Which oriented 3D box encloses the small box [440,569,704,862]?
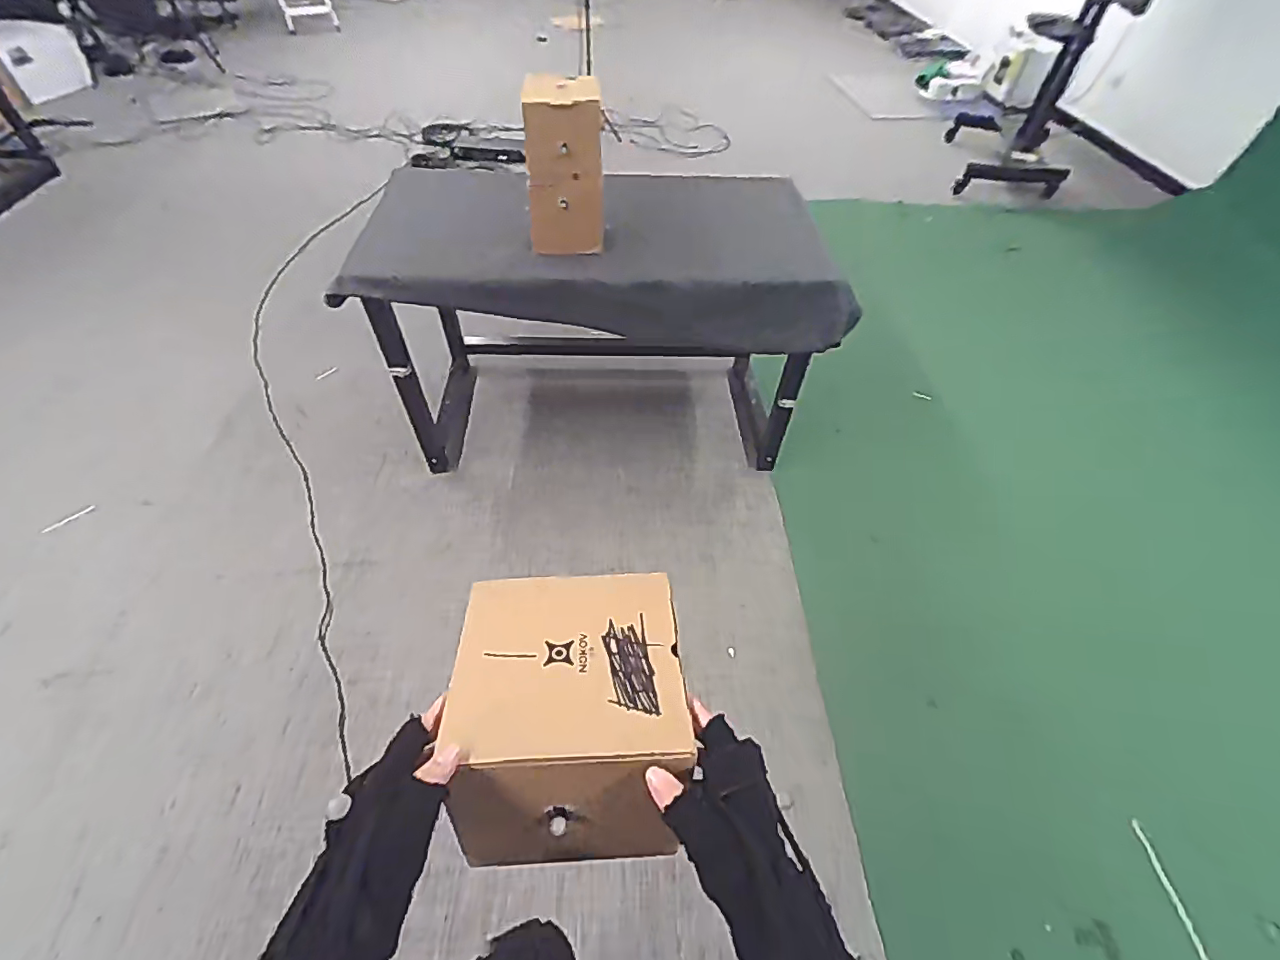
[{"bbox_3d":[-0.057,0.197,0.464,0.179,0.176,0.168,-2,37,-8],"label":"small box"}]

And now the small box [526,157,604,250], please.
[{"bbox_3d":[-0.178,-0.687,1.336,0.179,0.176,0.168,-1,52,-5],"label":"small box"}]

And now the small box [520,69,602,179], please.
[{"bbox_3d":[-0.171,-0.793,1.212,0.168,0.176,0.179,-3,52,-5],"label":"small box"}]
